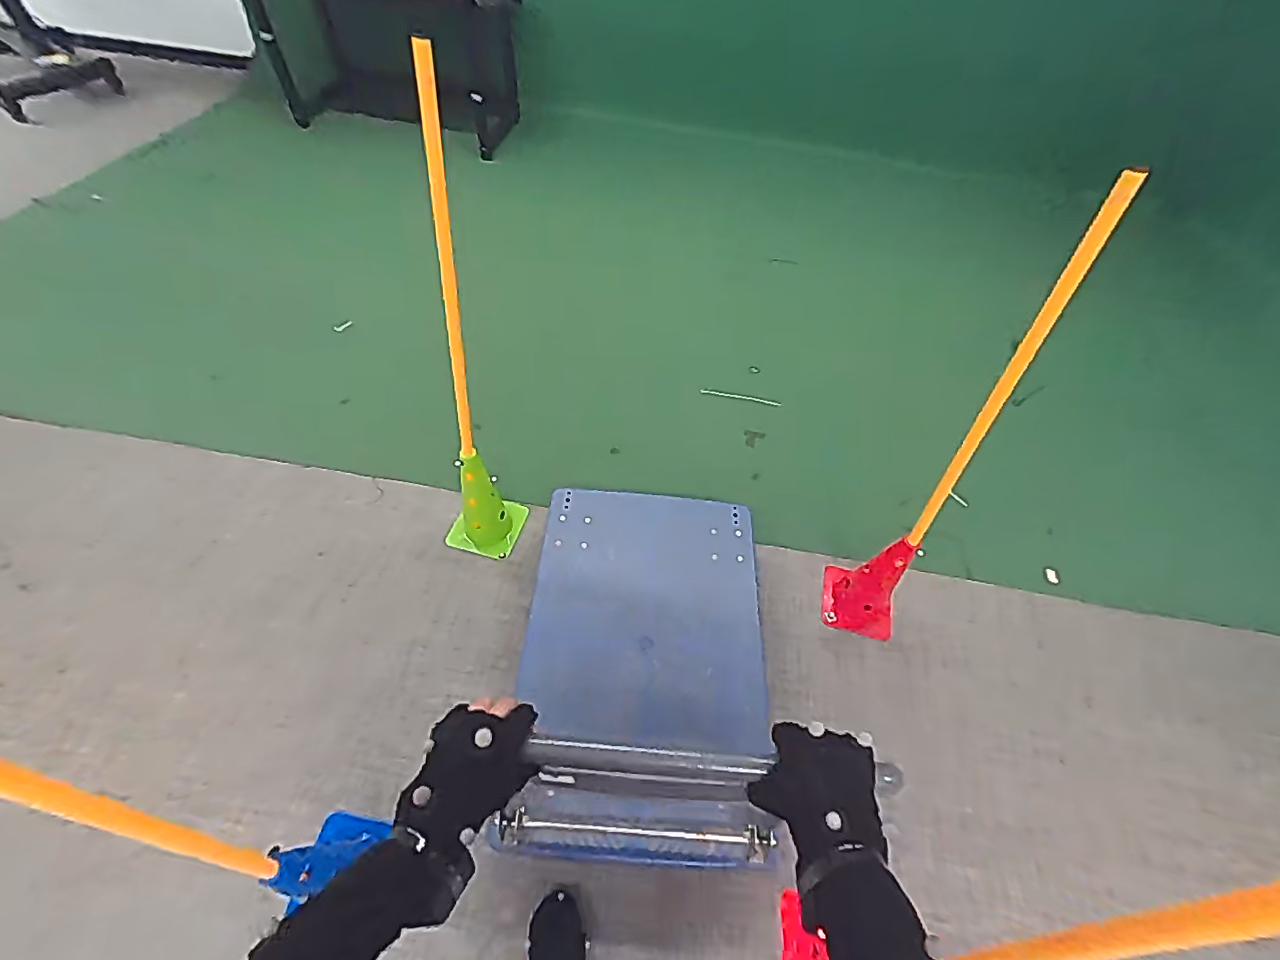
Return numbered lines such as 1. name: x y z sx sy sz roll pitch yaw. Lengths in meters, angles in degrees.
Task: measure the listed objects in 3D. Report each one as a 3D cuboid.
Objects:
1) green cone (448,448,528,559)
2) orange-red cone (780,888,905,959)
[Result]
1. green cone: -0.457 0.039 1.541 0.202 0.368 0.200 13 52 6
2. orange-red cone: 0.397 0.878 0.987 0.199 0.360 0.198 9 52 4
